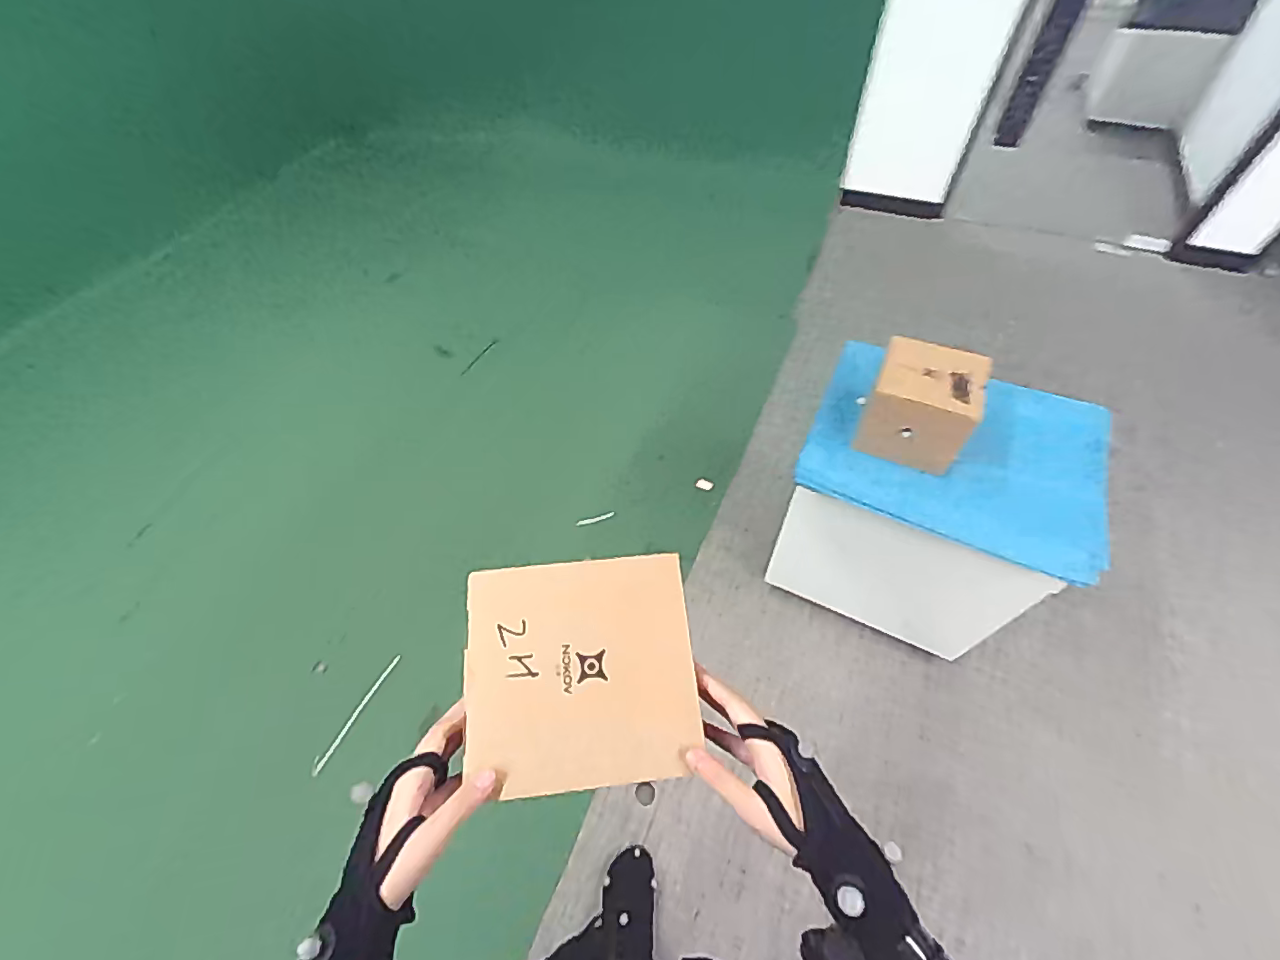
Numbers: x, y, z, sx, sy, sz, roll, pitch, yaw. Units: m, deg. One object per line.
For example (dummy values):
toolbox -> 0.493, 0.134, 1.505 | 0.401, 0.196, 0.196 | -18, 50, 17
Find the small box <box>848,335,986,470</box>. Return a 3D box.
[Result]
small box -> 0.522, -0.142, 1.034 | 0.179, 0.176, 0.168 | 20, 58, 17
